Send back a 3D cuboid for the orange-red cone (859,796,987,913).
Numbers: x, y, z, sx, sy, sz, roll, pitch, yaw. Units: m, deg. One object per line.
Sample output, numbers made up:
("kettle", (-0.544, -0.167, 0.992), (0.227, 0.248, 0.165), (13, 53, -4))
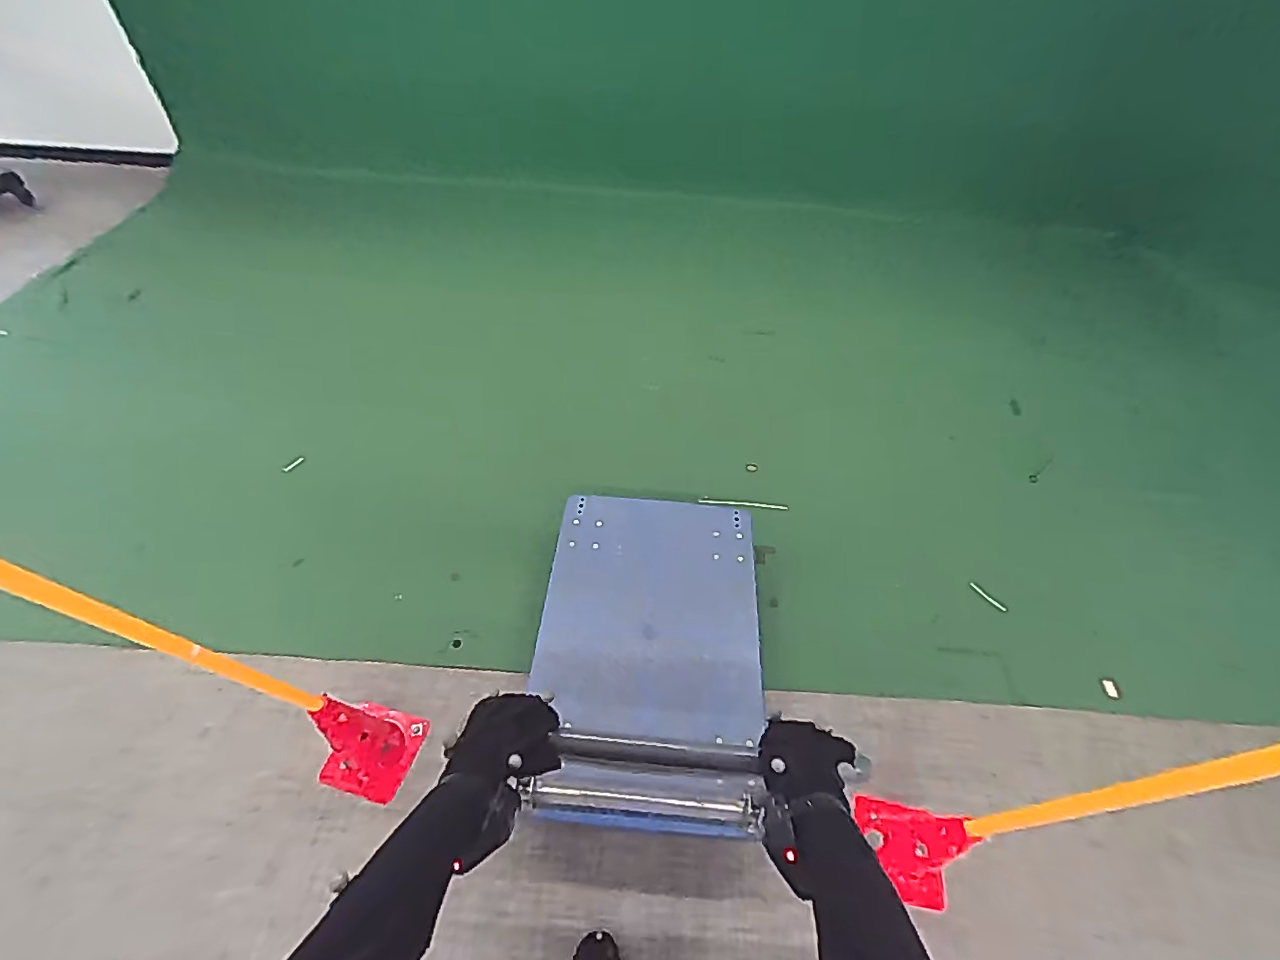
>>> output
("orange-red cone", (0.620, 0.760, 1.134), (0.198, 0.360, 0.199), (12, 51, 7))
